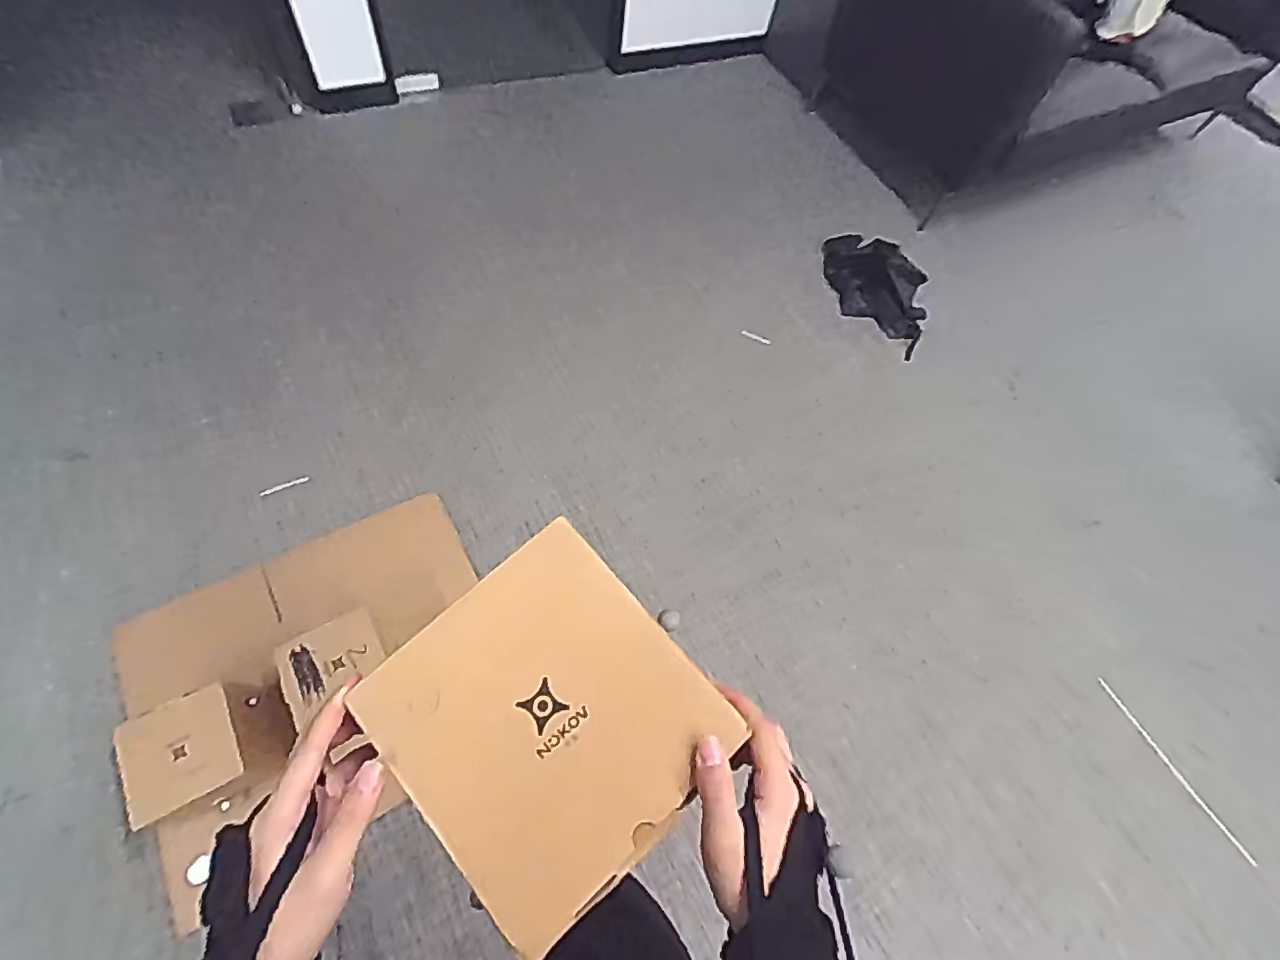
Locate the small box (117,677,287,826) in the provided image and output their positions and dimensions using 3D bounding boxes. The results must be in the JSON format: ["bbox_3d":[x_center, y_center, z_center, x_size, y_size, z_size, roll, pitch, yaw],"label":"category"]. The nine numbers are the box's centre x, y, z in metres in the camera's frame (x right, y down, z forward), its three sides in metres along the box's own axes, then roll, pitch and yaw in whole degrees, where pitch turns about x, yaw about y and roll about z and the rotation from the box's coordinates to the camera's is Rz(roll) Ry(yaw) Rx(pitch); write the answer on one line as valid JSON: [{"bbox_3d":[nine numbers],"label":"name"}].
[{"bbox_3d":[-0.782,0.487,0.981,0.168,0.176,0.179,-26,71,-19],"label":"small box"}]

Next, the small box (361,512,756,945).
[{"bbox_3d":[-0.051,0.156,0.389,0.168,0.176,0.179,-41,76,-13],"label":"small box"}]
